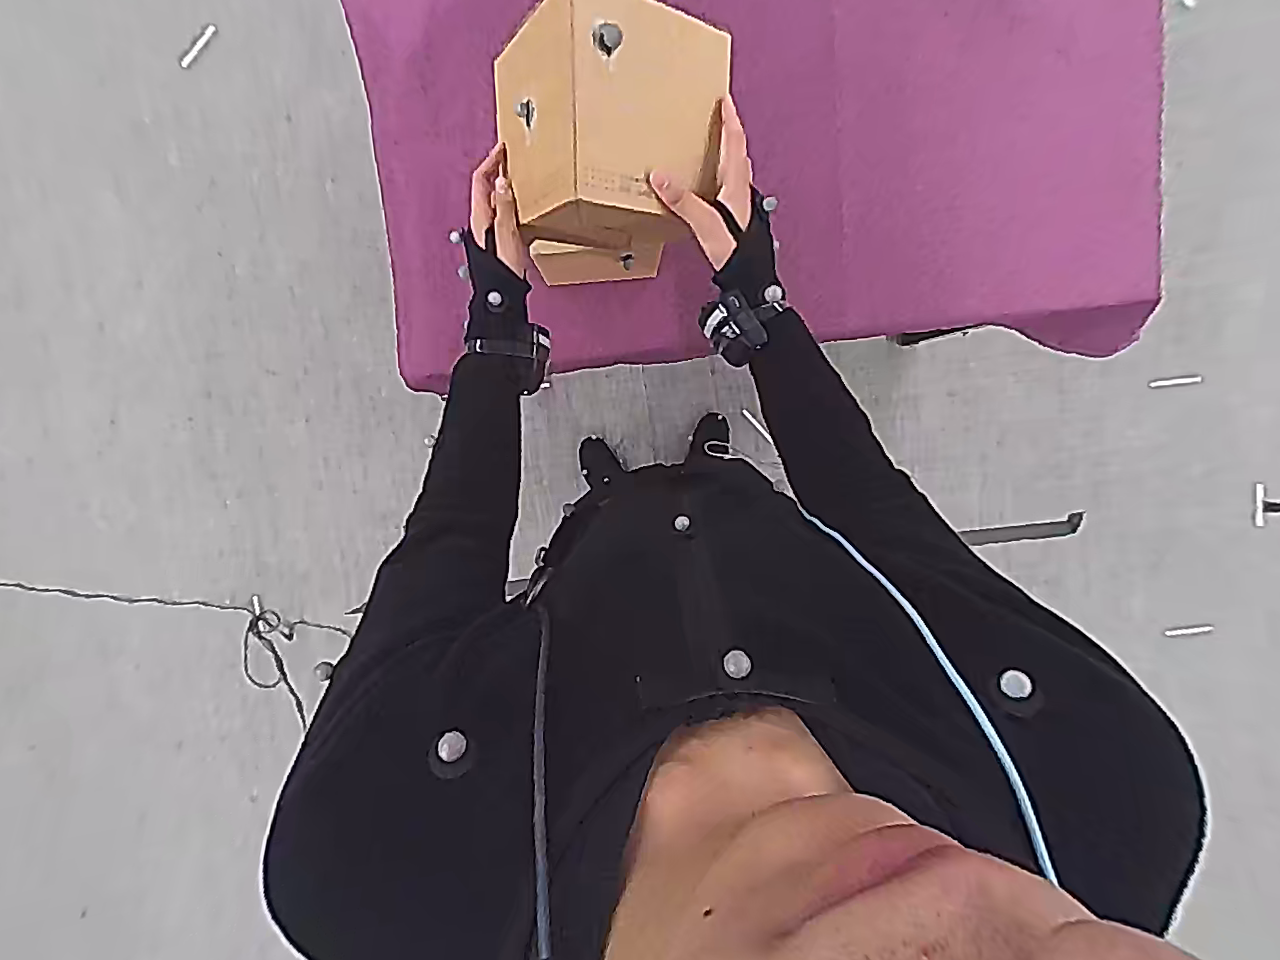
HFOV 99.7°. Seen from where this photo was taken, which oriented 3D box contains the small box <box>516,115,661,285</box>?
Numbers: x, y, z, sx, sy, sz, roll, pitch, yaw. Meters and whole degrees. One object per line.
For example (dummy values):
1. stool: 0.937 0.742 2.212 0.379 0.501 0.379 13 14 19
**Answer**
1. small box: -0.068 -0.384 0.767 0.179 0.176 0.168 -5 96 -1
